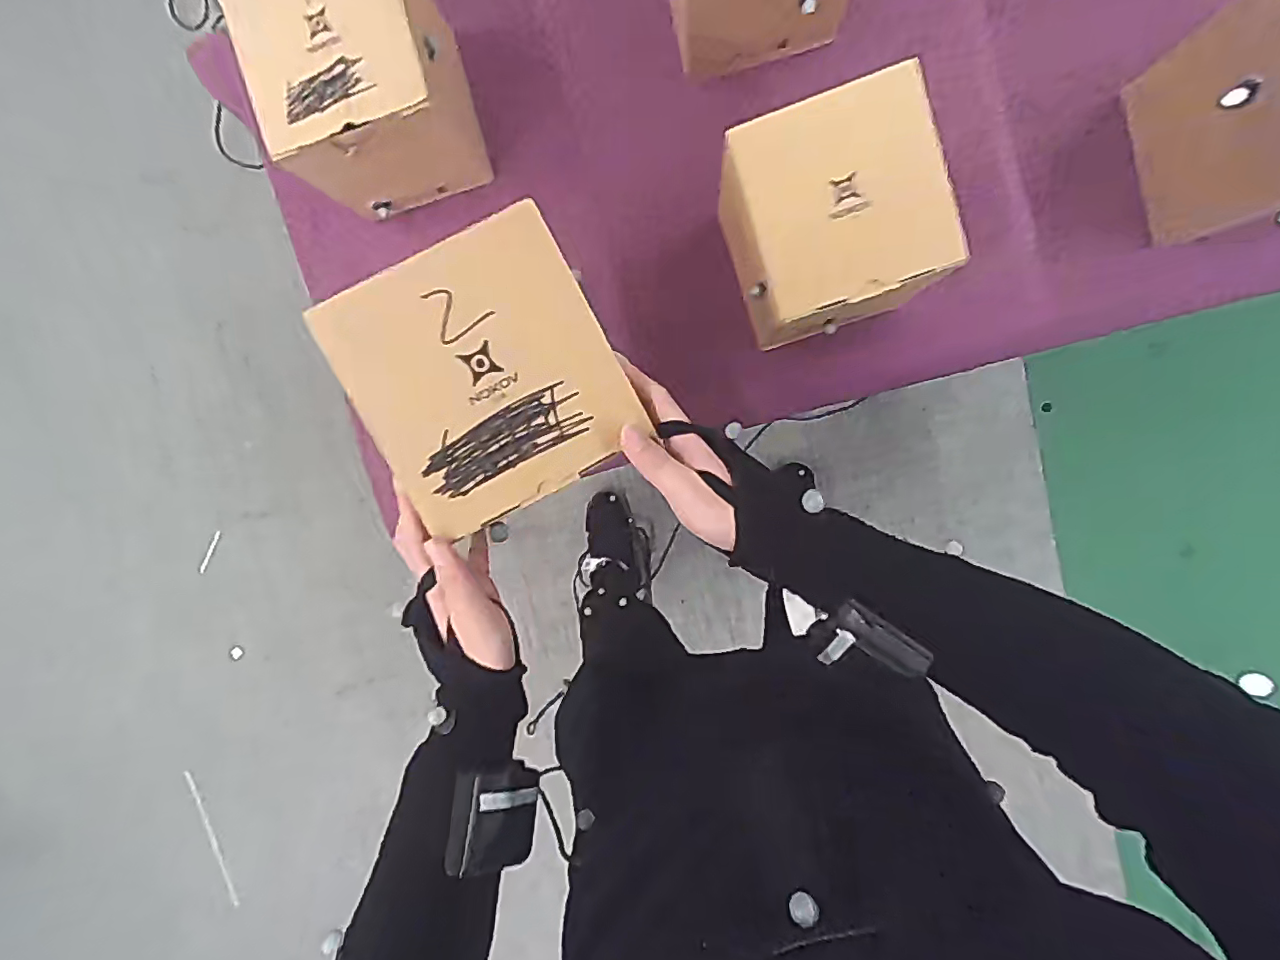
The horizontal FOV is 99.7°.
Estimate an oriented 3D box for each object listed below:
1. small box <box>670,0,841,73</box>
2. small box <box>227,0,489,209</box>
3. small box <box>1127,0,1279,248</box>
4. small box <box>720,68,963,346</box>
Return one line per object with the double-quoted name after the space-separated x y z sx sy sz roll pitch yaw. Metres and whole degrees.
0.109 -0.540 0.525 0.168 0.176 0.179 -12 95 6 "small box"
-0.280 -0.414 0.574 0.168 0.176 0.179 -14 95 6 "small box"
0.602 -0.344 0.495 0.168 0.176 0.179 -15 94 9 "small box"
0.184 -0.253 0.550 0.168 0.176 0.179 -17 94 6 "small box"
